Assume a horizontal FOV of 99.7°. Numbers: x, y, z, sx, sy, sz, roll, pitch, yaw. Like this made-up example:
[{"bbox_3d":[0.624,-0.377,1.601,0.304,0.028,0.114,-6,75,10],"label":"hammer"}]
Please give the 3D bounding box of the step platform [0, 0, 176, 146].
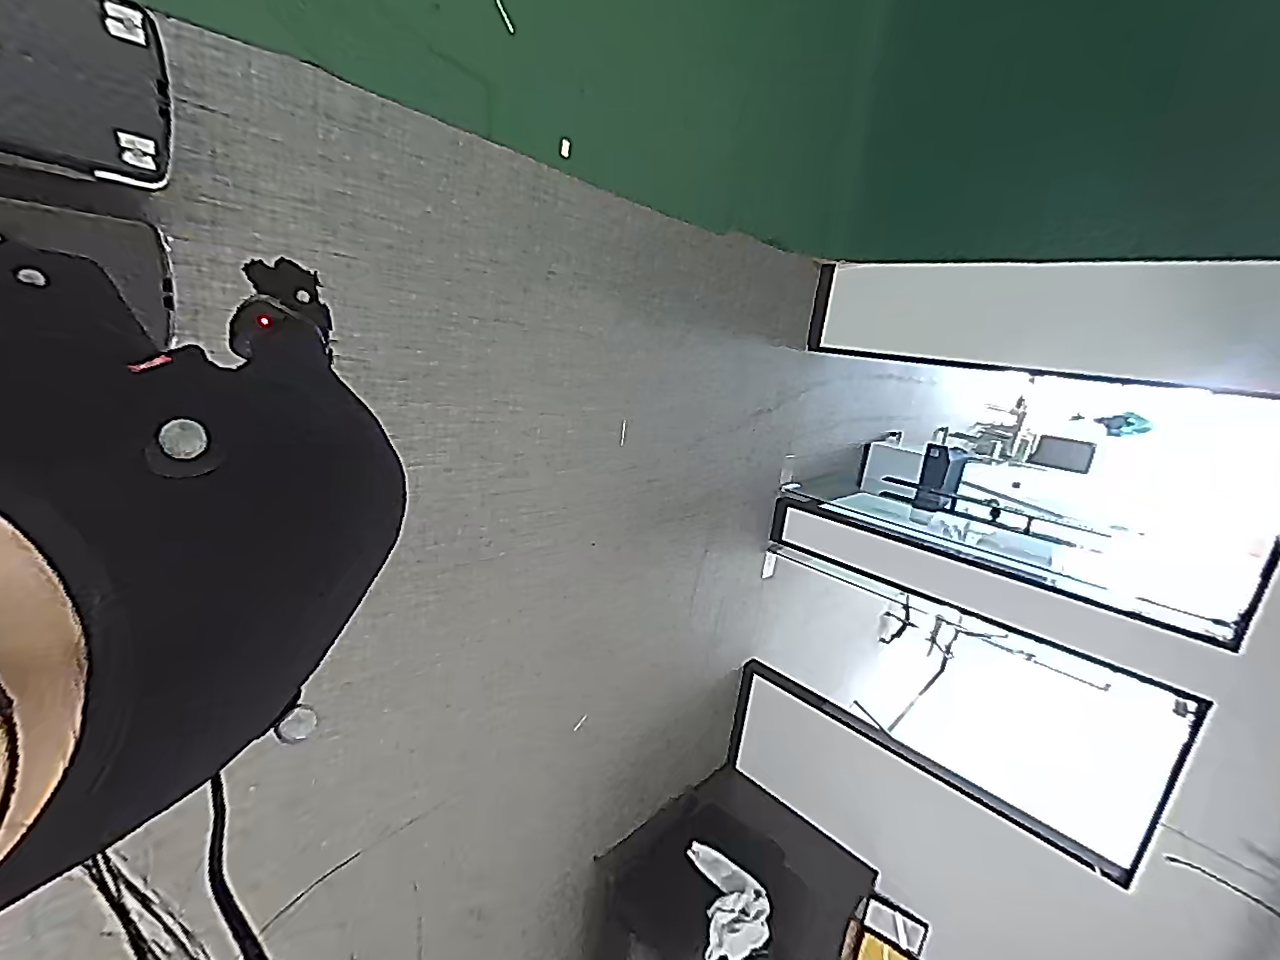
[{"bbox_3d":[-0.997,-0.649,0.626,0.684,0.204,0.286,-7,111,-45],"label":"step platform"}]
